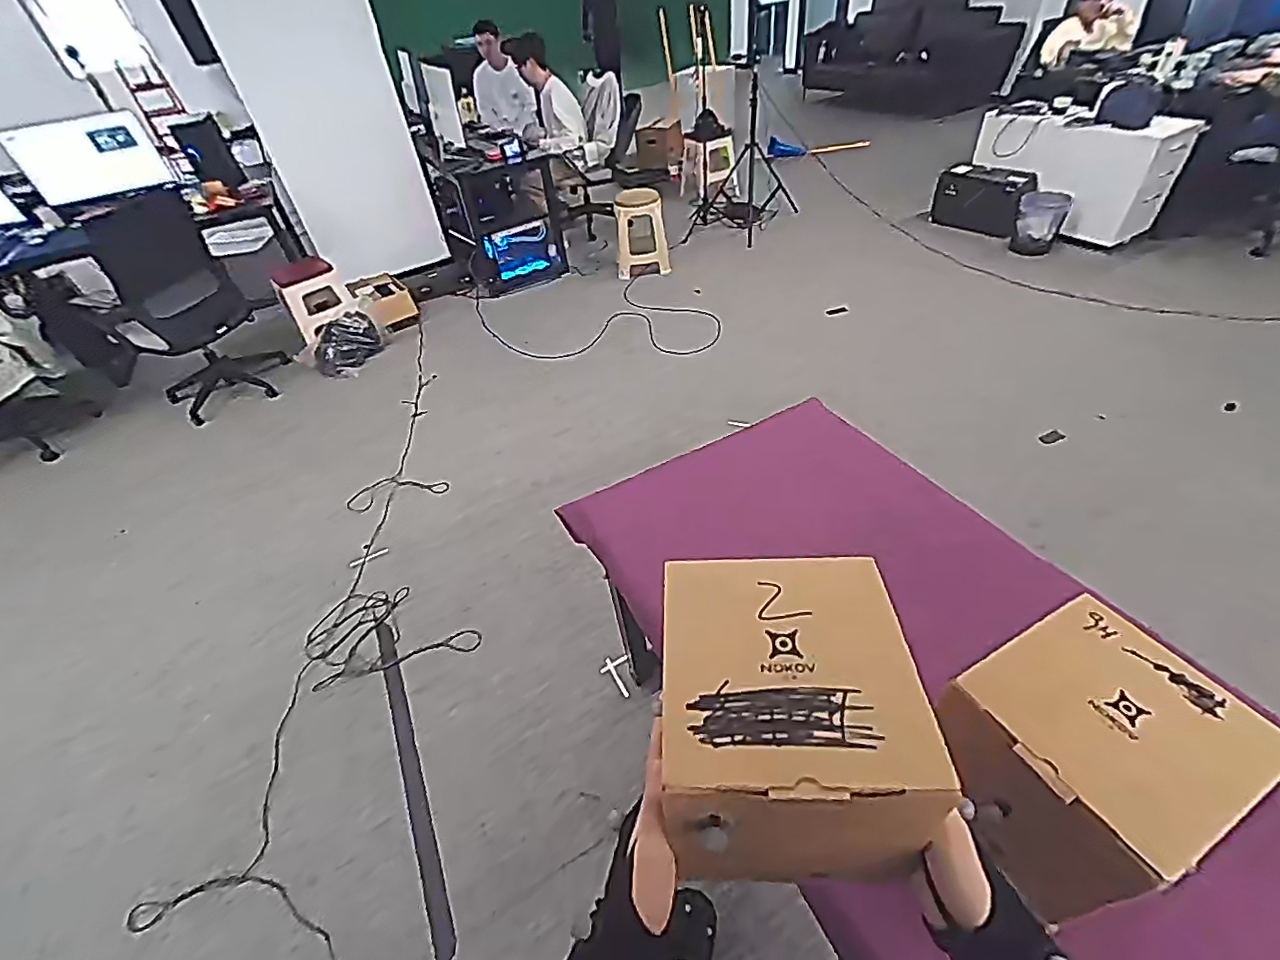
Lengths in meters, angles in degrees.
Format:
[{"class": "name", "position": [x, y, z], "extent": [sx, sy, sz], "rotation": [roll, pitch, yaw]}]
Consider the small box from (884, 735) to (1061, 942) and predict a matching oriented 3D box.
[{"class": "small box", "position": [0.397, 0.360, 0.594], "extent": [0.179, 0.176, 0.168], "rotation": [-23, 45, -17]}]

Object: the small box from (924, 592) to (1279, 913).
[{"class": "small box", "position": [0.385, 0.241, 0.482], "extent": [0.179, 0.176, 0.168], "rotation": [-24, 46, -16]}]
